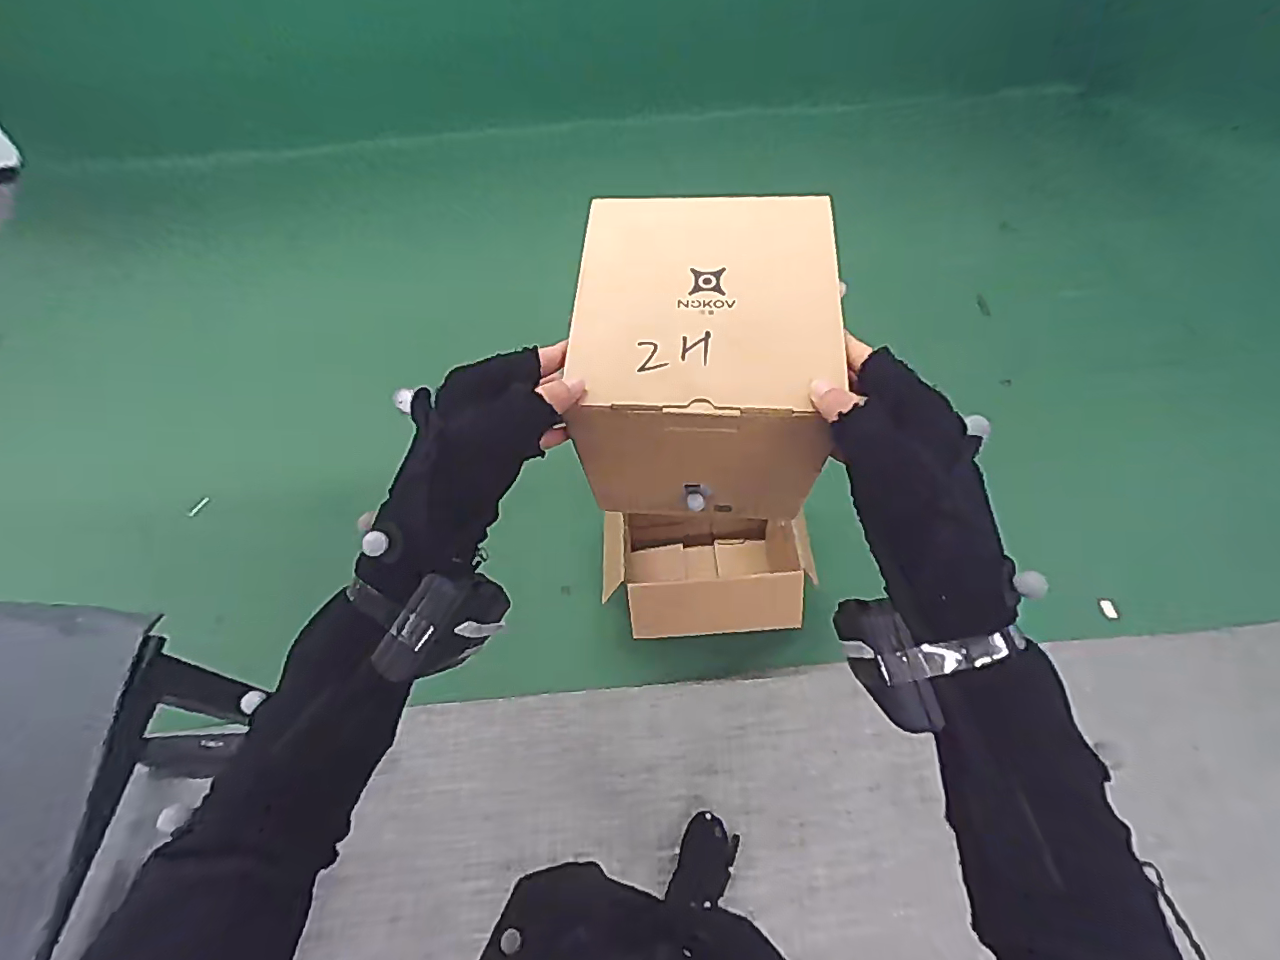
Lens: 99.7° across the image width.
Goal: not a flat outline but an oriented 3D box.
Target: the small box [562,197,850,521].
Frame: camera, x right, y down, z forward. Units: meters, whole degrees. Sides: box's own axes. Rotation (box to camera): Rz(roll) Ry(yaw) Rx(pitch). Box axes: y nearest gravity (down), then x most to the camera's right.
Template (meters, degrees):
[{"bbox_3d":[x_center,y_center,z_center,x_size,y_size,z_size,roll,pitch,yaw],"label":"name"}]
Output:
[{"bbox_3d":[0.048,-0.084,0.412,0.168,0.176,0.179,2,65,6],"label":"small box"}]
